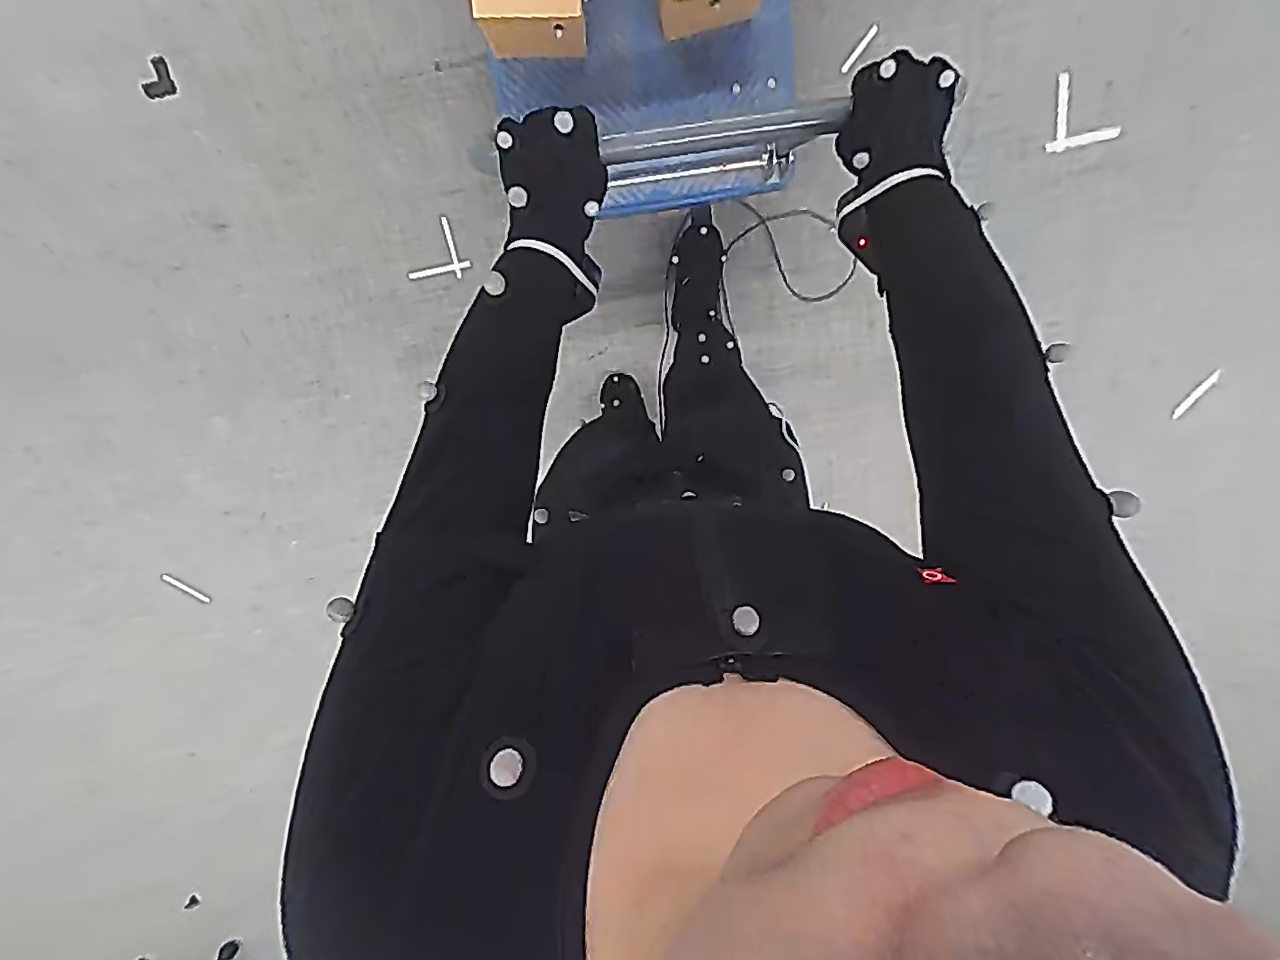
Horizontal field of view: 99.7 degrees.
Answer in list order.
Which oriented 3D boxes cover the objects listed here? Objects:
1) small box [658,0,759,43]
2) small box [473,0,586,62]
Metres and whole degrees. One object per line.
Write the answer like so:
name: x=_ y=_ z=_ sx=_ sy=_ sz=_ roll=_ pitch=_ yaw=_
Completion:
small box: x=0.114 y=-0.892 z=0.926 sx=0.179 sy=0.176 sz=0.168 roll=-13 pitch=111 yaw=2
small box: x=-0.188 y=-0.846 z=0.929 sx=0.179 sy=0.176 sz=0.168 roll=-3 pitch=110 yaw=-3
